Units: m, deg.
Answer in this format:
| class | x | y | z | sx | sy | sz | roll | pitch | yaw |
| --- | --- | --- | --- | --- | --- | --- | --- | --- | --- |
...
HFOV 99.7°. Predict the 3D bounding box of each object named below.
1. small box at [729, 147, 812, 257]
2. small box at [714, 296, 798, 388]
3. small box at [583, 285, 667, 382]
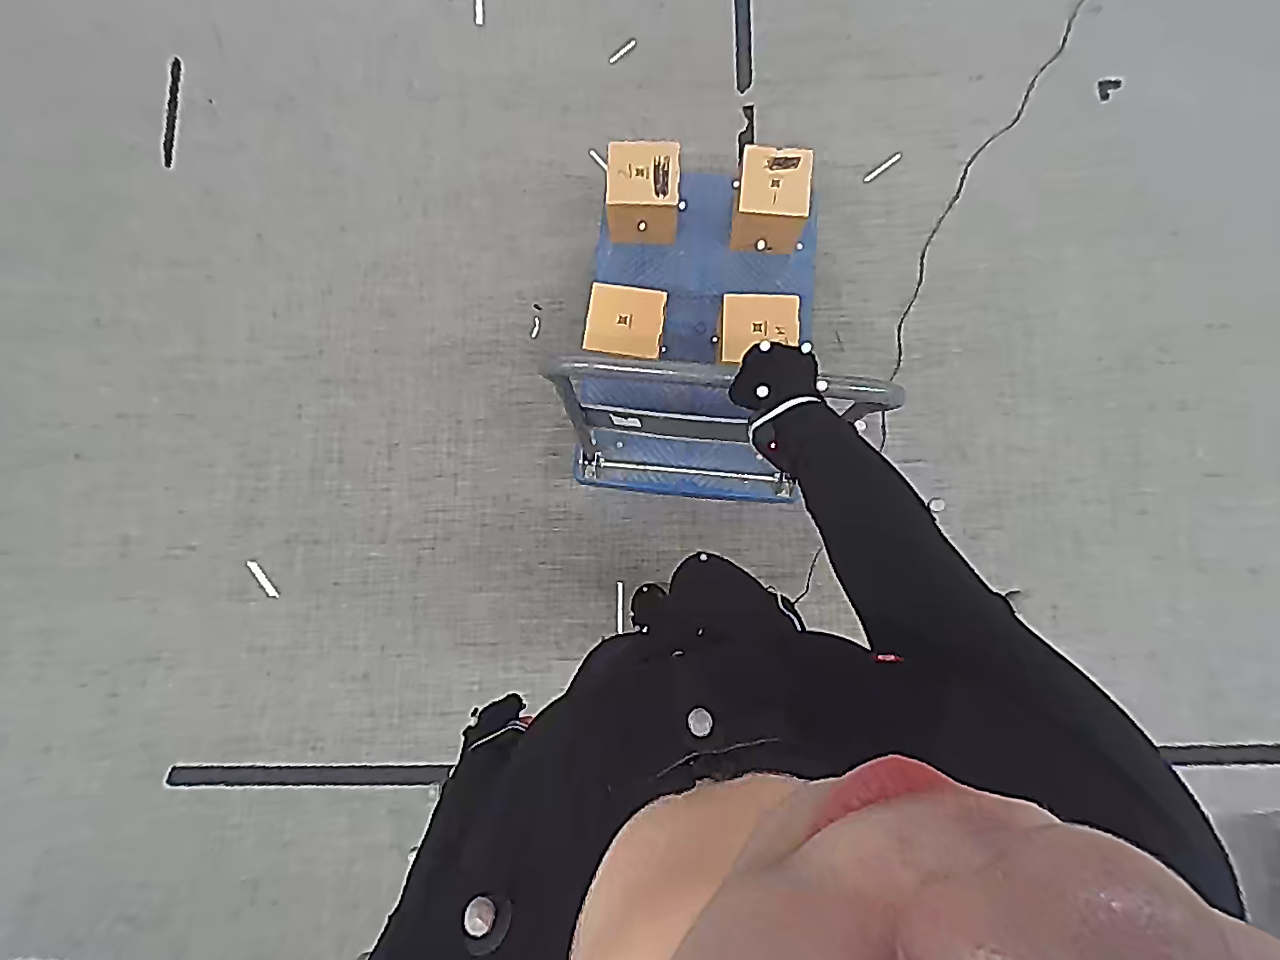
| class | x | y | z | sx | sy | sz | roll | pitch | yaw |
| --- | --- | --- | --- | --- | --- | --- | --- | --- | --- |
| small box | 0.323 | -0.695 | 1.363 | 0.168 | 0.176 | 0.179 | 6 | 83 | 2 |
| small box | 0.275 | -0.329 | 1.310 | 0.179 | 0.176 | 0.168 | 3 | 82 | 2 |
| small box | -0.035 | -0.352 | 1.323 | 0.179 | 0.176 | 0.168 | 8 | 81 | 1 |
